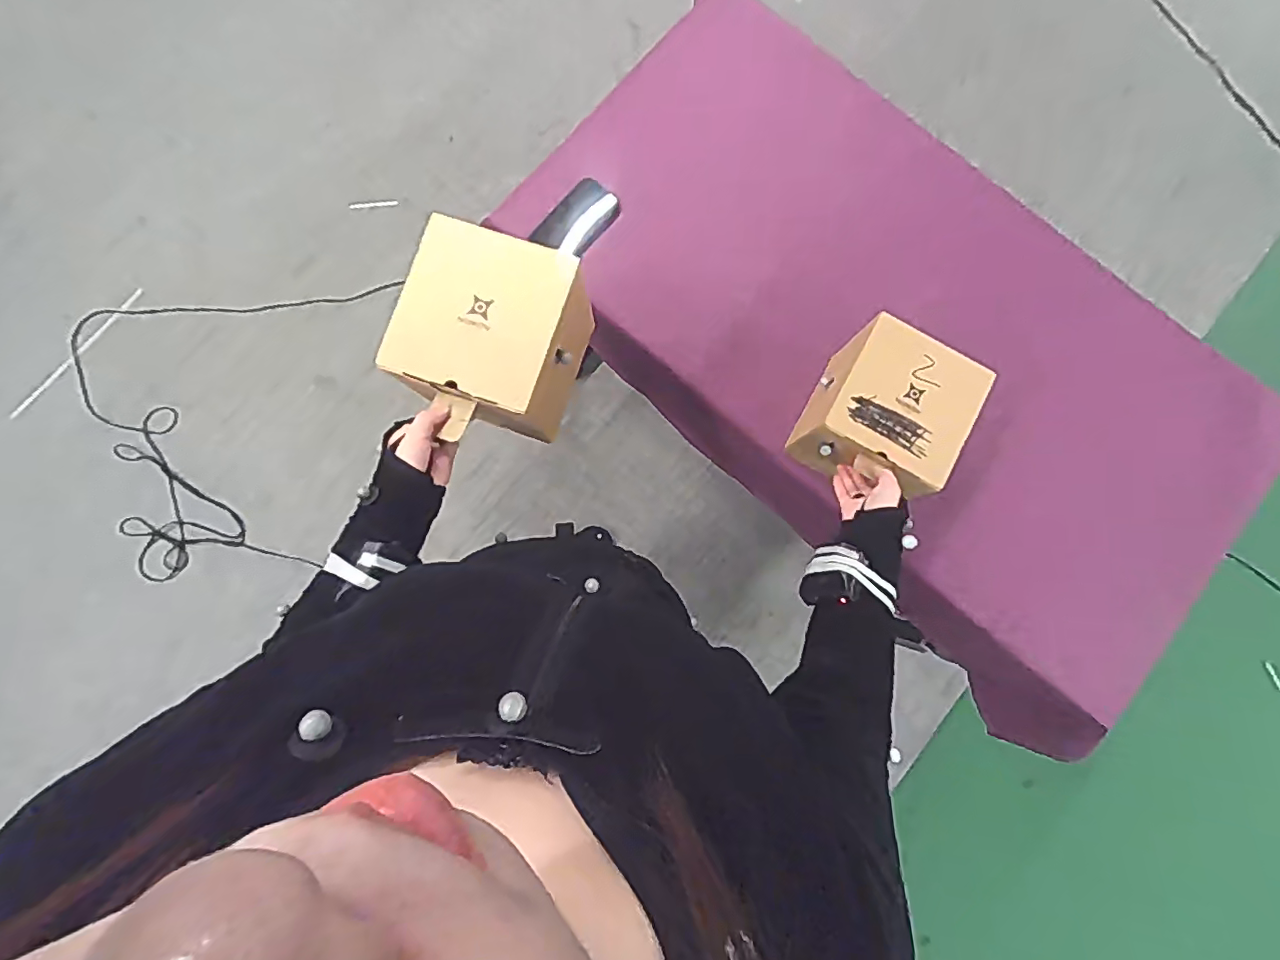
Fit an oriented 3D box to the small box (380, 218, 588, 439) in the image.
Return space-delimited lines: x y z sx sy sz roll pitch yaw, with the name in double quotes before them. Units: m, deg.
"small box" -0.166 -0.164 0.641 0.168 0.176 0.179 19 85 2
